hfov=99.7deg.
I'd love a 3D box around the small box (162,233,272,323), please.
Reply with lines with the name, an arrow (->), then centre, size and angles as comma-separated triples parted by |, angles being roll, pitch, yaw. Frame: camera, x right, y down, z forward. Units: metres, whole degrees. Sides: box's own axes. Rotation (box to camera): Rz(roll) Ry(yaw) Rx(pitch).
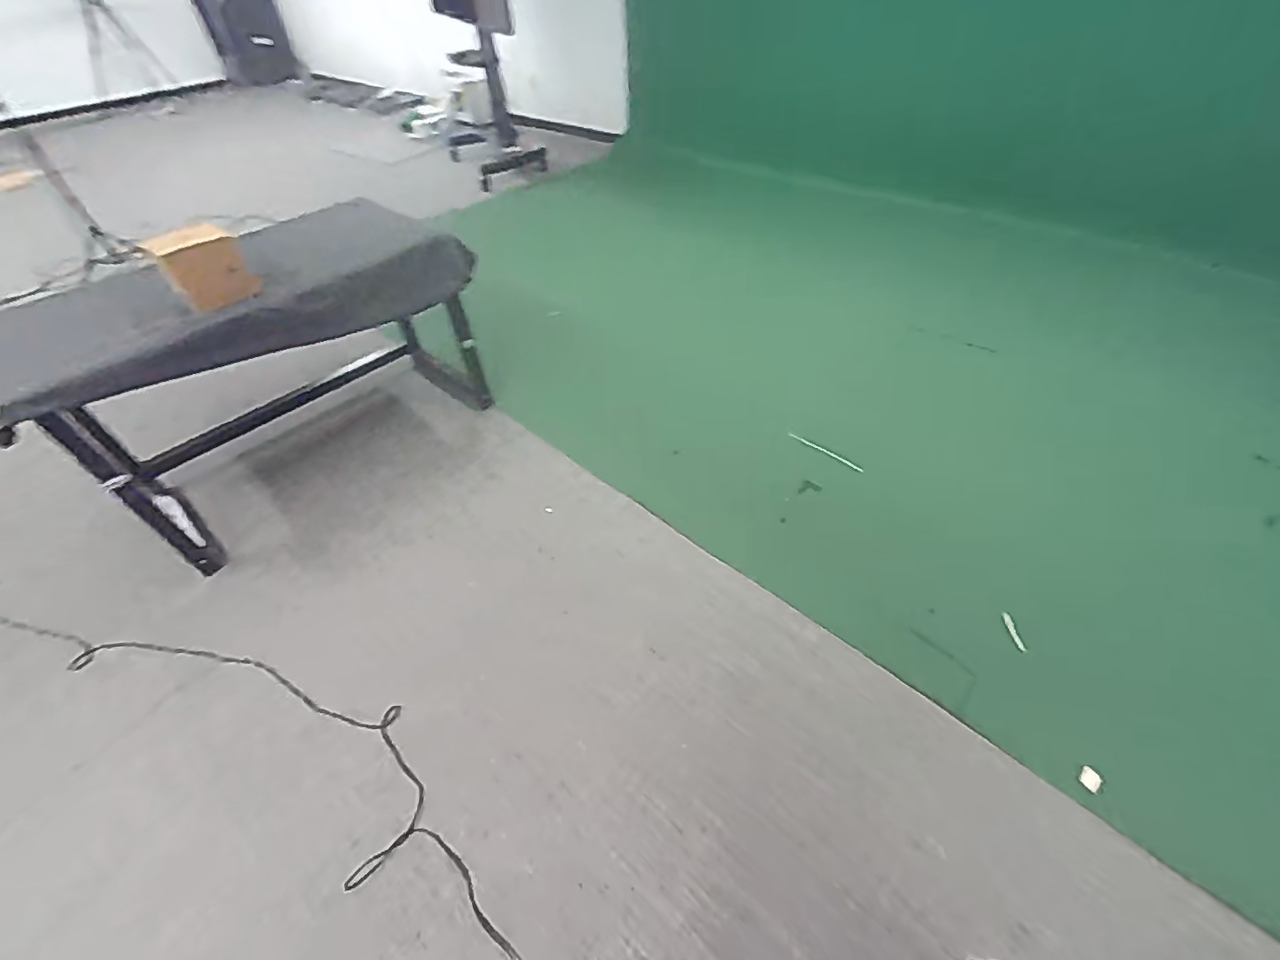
small box -> -1.195, -0.576, 1.544 | 0.168, 0.176, 0.179 | 30, 56, 32
